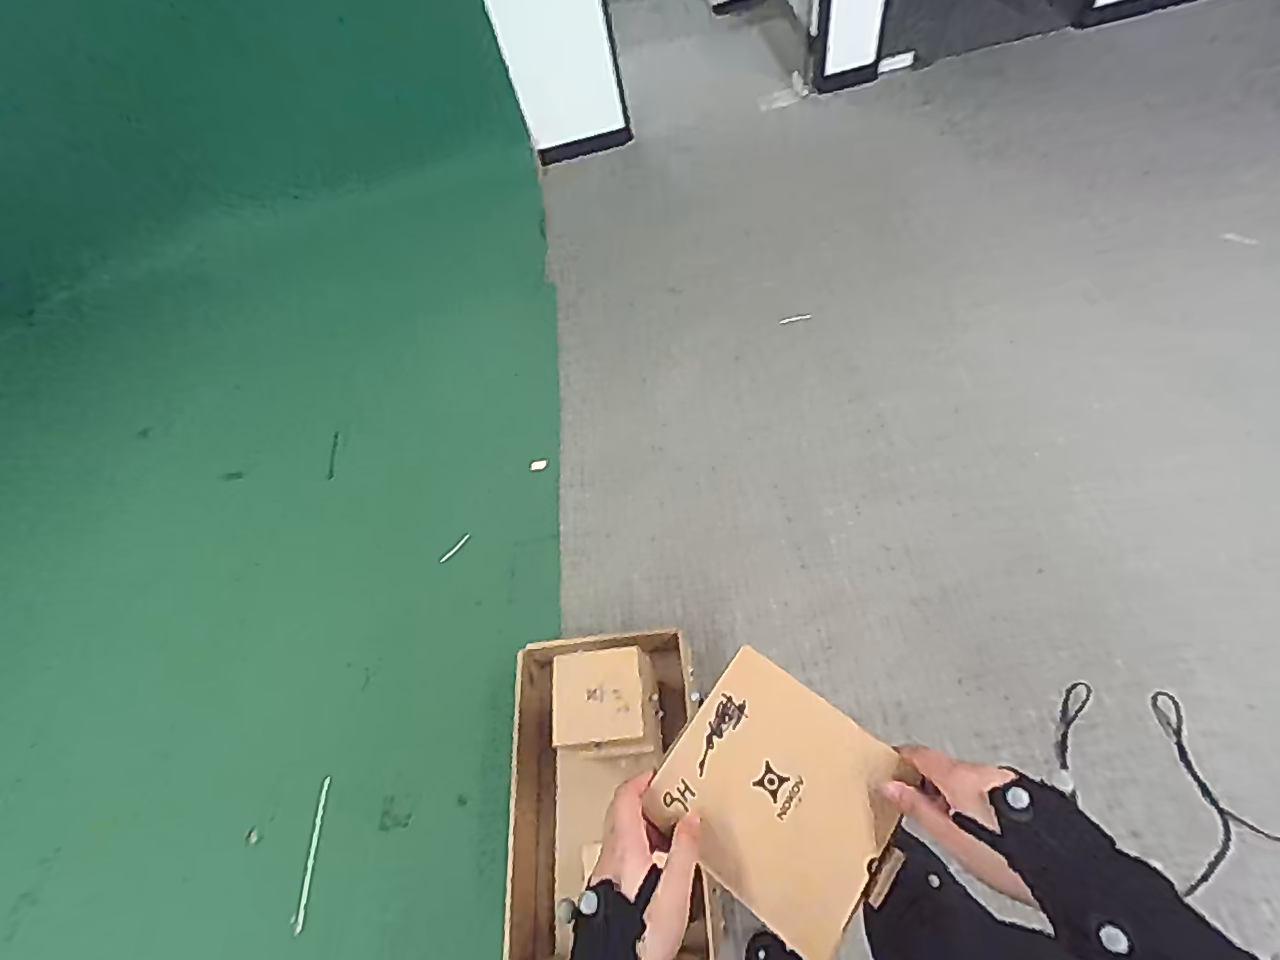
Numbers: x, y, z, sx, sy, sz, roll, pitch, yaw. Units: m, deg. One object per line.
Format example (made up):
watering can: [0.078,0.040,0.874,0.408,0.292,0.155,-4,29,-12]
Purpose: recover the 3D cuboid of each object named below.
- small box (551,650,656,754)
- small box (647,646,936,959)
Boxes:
small box: [-0.070,0.453,1.091,0.179,0.176,0.168,-8,59,6]
small box: [0.125,0.282,0.506,0.179,0.176,0.168,35,71,17]
